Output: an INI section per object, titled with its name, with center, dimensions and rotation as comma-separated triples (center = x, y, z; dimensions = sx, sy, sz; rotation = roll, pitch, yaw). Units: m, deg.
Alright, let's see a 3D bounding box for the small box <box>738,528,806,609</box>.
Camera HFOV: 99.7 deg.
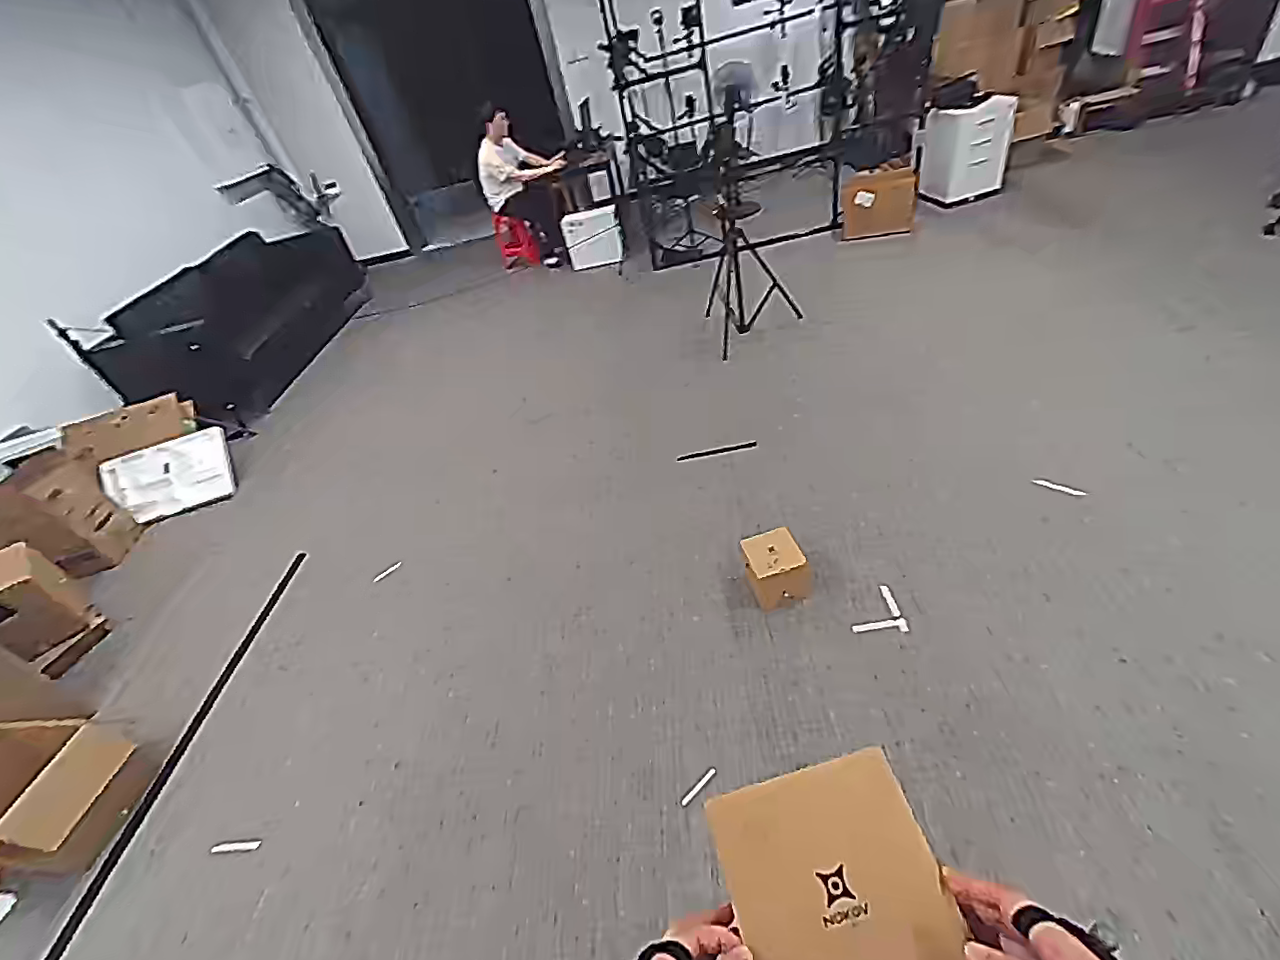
[small box]
center = 0.437, 0.295, 1.792
dimensions = 0.168, 0.176, 0.179
rotation = -18, 39, -1
